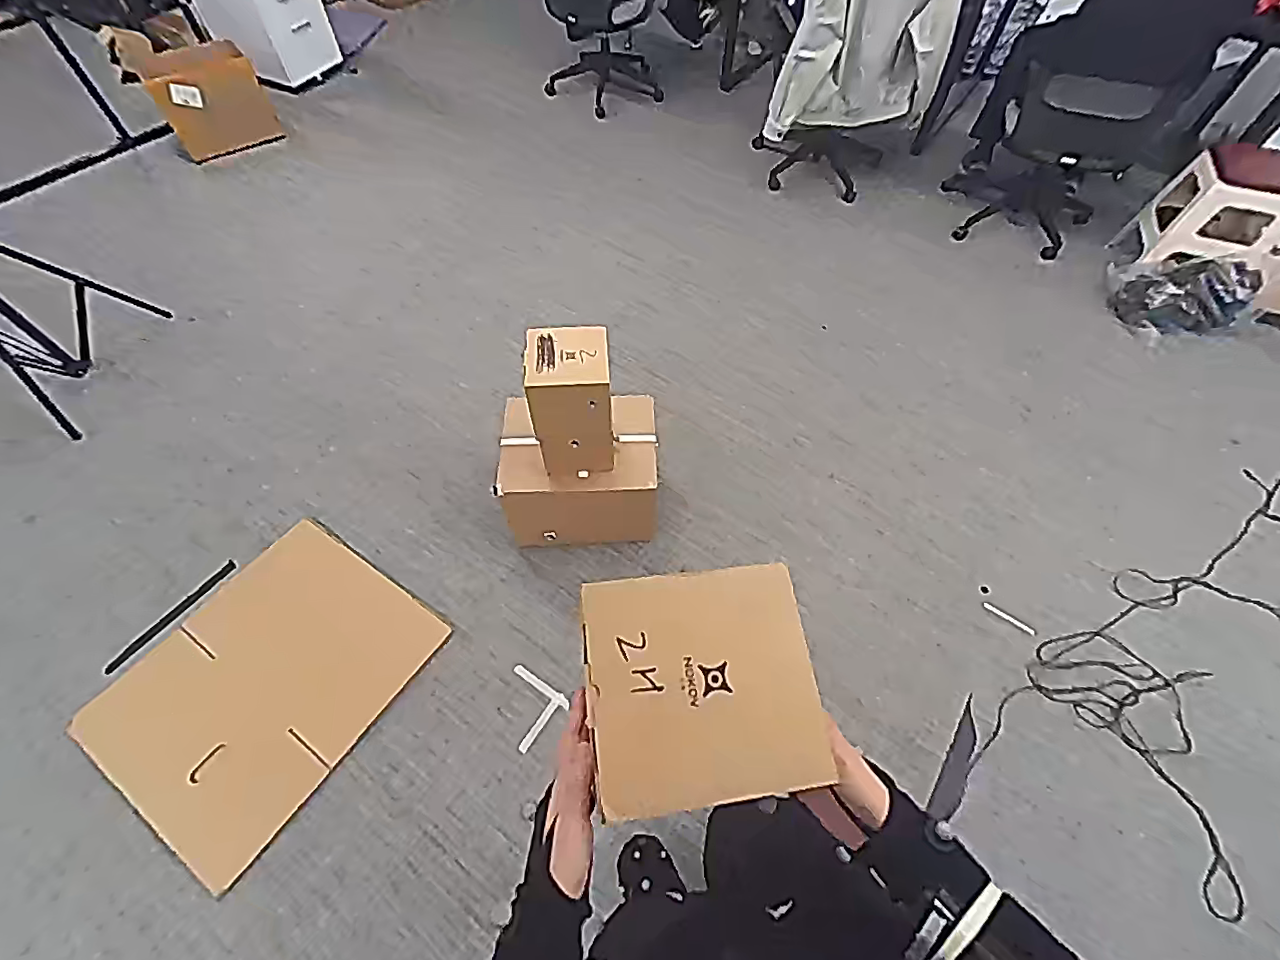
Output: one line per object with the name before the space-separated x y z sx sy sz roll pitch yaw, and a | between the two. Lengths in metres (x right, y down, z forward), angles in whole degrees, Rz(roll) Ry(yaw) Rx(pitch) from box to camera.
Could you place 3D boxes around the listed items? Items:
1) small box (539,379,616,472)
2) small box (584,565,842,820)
small box | -0.152 -0.130 1.339 0.179 0.176 0.168 -3 59 -4
small box | 0.044 0.181 0.480 0.179 0.176 0.168 -5 67 -8
